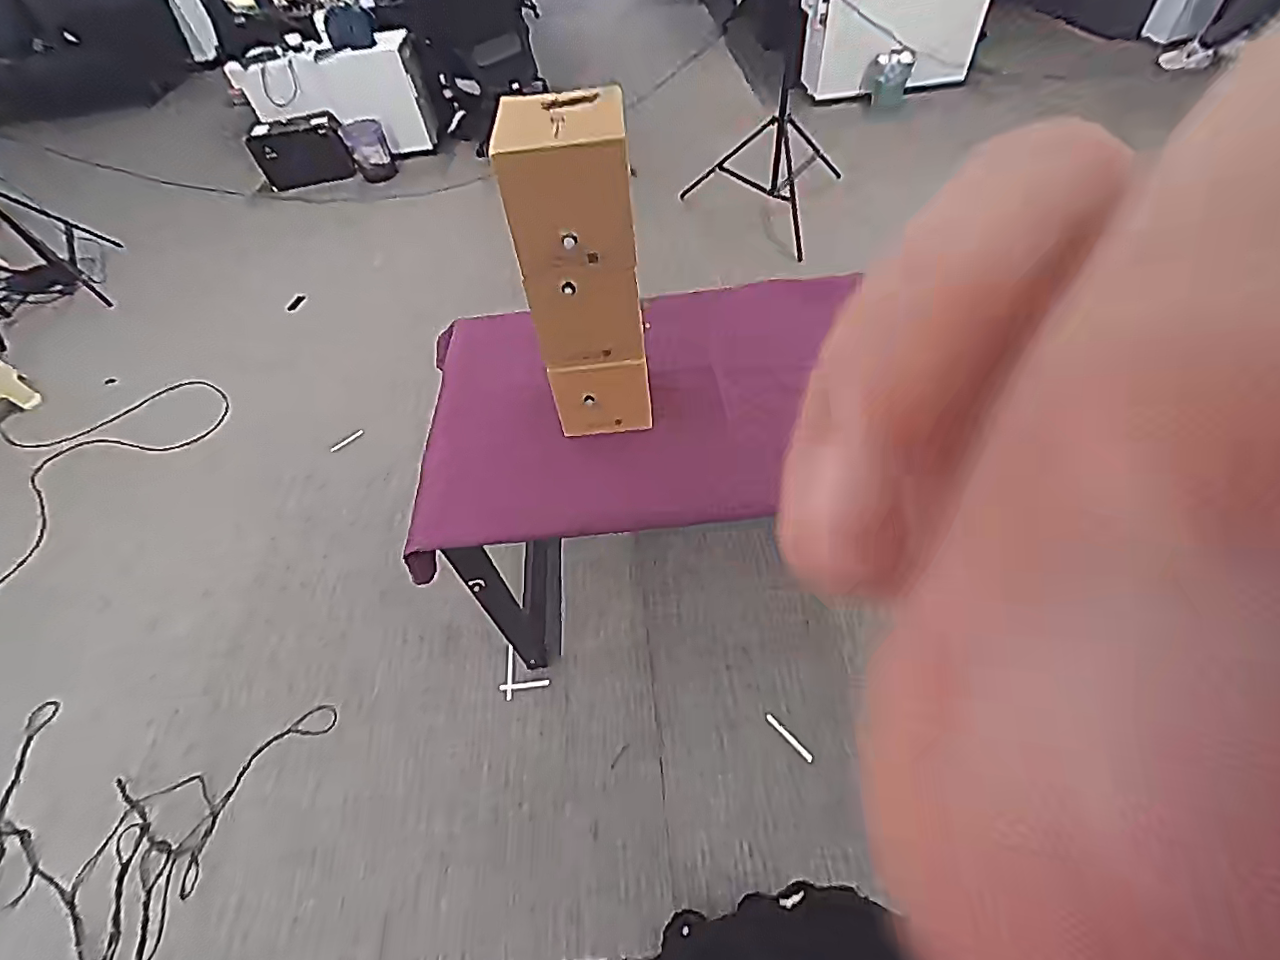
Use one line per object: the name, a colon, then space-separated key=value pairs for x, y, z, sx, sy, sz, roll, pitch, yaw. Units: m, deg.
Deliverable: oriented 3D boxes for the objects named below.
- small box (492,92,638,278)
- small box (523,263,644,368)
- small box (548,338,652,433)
small box: x=-0.094 y=-0.406 z=0.752 sx=0.168 sy=0.176 sz=0.179 roll=-5 pitch=52 yaw=2
small box: x=-0.084 y=-0.307 z=0.883 sx=0.168 sy=0.176 sz=0.179 roll=-6 pitch=51 yaw=2
small box: x=-0.069 y=-0.201 z=1.008 sx=0.168 sy=0.176 sz=0.179 roll=-6 pitch=52 yaw=2
